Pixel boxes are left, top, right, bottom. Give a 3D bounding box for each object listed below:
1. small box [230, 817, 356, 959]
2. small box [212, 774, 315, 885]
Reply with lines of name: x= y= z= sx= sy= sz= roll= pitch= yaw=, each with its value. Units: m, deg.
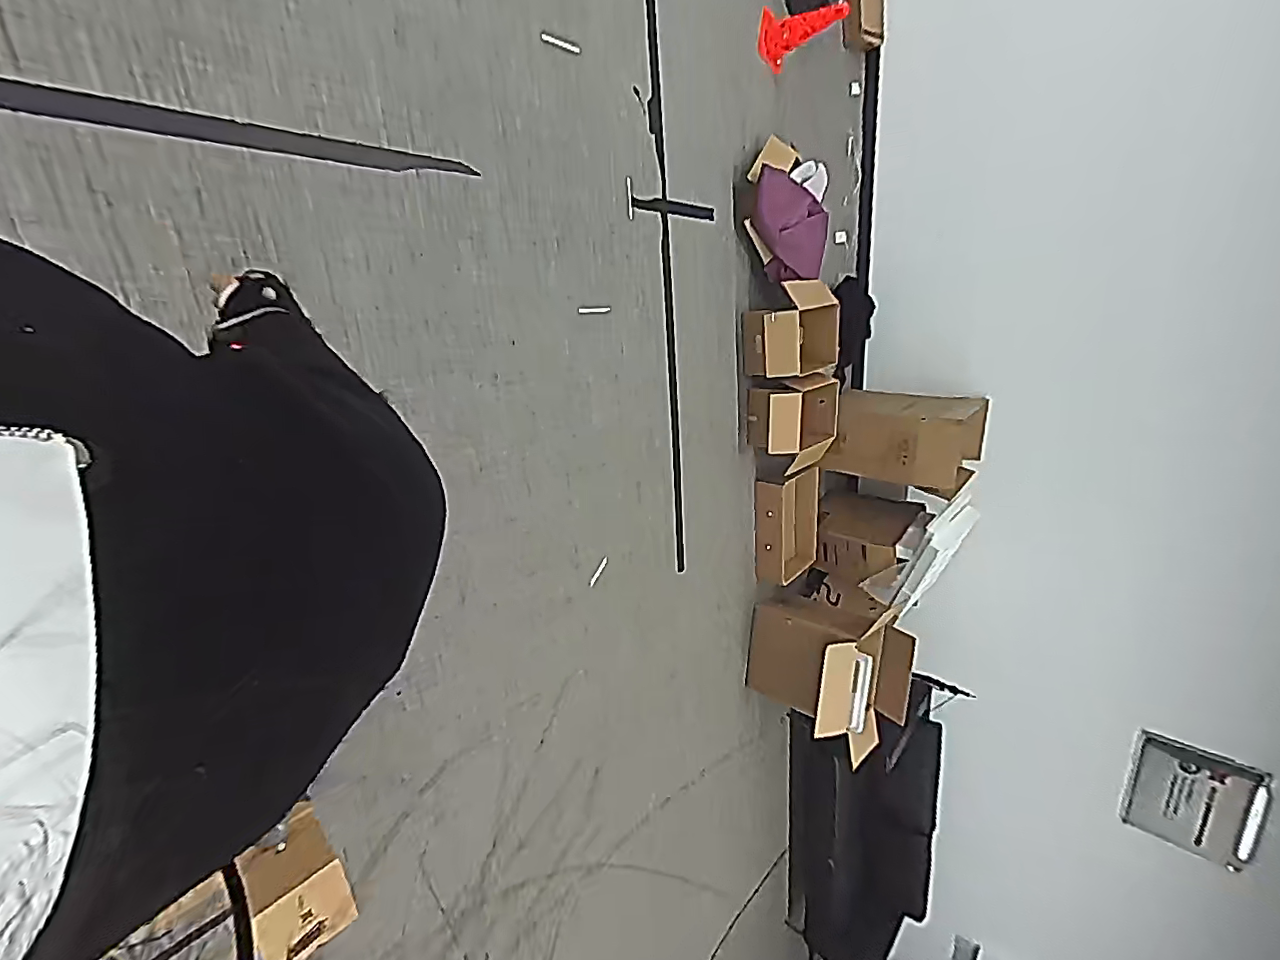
small box: x=-0.735 y=0.872 z=1.148 sx=0.168 sy=0.176 sz=0.179 roll=-23 pitch=116 yaw=-42
small box: x=-0.857 y=0.831 z=1.252 sx=0.168 sy=0.176 sz=0.179 roll=-21 pitch=115 yaw=-43
